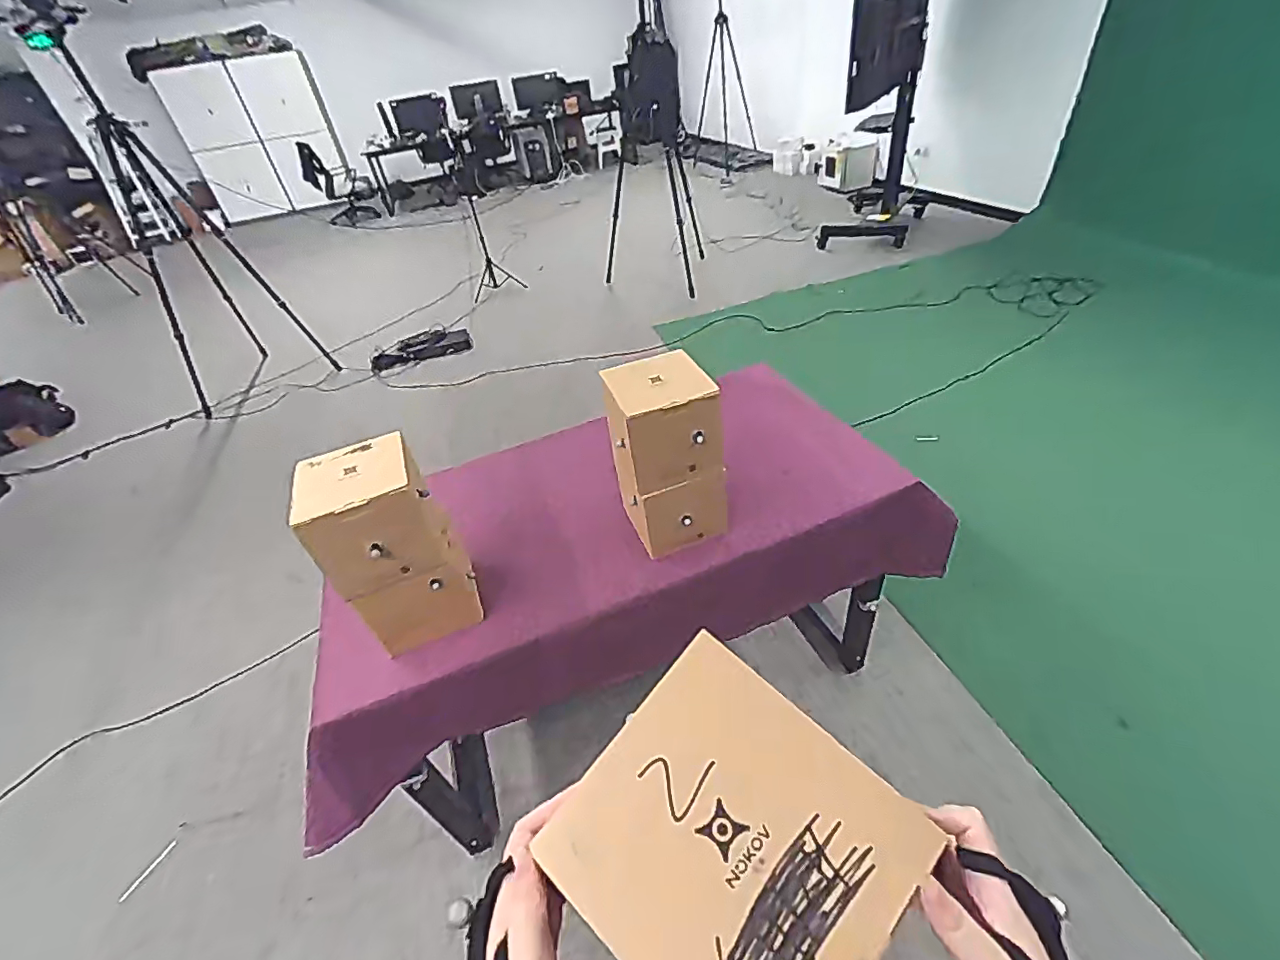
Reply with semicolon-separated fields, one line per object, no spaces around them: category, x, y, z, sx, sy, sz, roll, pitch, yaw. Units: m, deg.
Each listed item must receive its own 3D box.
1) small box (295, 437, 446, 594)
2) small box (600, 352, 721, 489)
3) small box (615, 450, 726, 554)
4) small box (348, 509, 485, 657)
small box;-0.431;0.062;0.884;0.168;0.176;0.179;-20;40;-14
small box;0.040;-0.102;0.978;0.168;0.176;0.179;-17;39;-9
small box;0.064;0.025;1.077;0.168;0.176;0.179;-19;39;-11
small box;-0.403;0.189;0.985;0.179;0.176;0.168;-20;40;-14
